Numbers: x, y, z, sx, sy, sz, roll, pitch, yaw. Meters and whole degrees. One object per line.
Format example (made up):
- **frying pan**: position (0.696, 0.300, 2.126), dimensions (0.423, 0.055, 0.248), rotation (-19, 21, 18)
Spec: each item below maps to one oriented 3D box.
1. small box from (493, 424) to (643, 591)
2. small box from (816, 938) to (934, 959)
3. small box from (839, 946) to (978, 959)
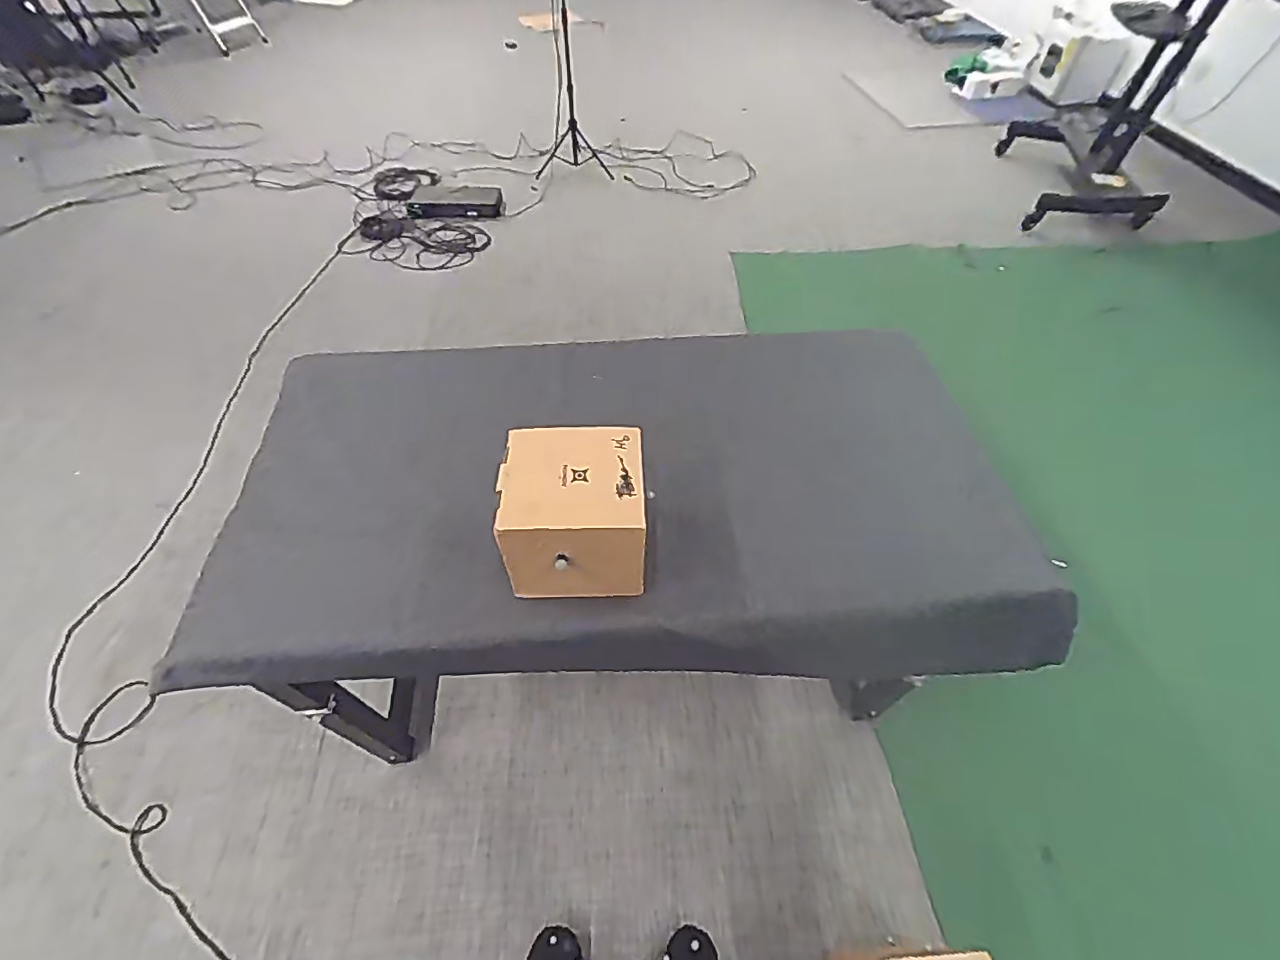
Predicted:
- **small box**: position (-0.085, 0.041, 0.735), dimensions (0.179, 0.176, 0.168), rotation (0, 51, -1)
- **small box**: position (0.441, 0.942, 0.974), dimensions (0.179, 0.176, 0.168), rotation (-4, 51, -3)
- **small box**: position (0.433, 0.842, 0.843), dimensions (0.179, 0.176, 0.168), rotation (-1, 51, -2)
